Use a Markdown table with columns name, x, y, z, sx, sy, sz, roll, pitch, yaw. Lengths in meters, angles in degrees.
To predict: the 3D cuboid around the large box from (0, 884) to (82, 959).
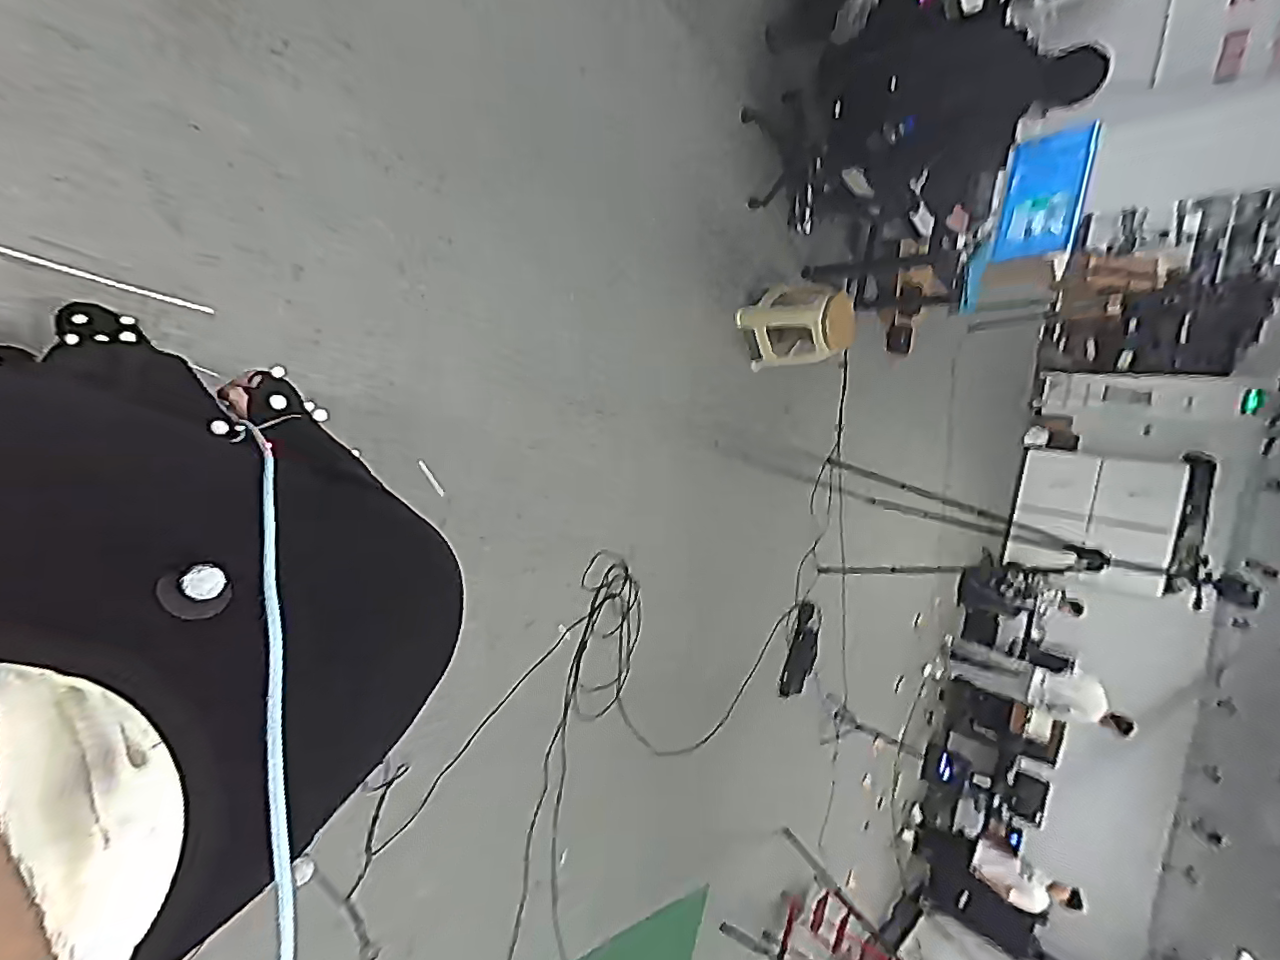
| name | x | y | z | sx | sy | sz | roll | pitch | yaw |
| --- | --- | --- | --- | --- | --- | --- | --- | --- | --- |
| large box | -1.378 | 1.117 | 1.048 | 0.408 | 0.320 | 0.320 | 1 | 98 | -45 |
